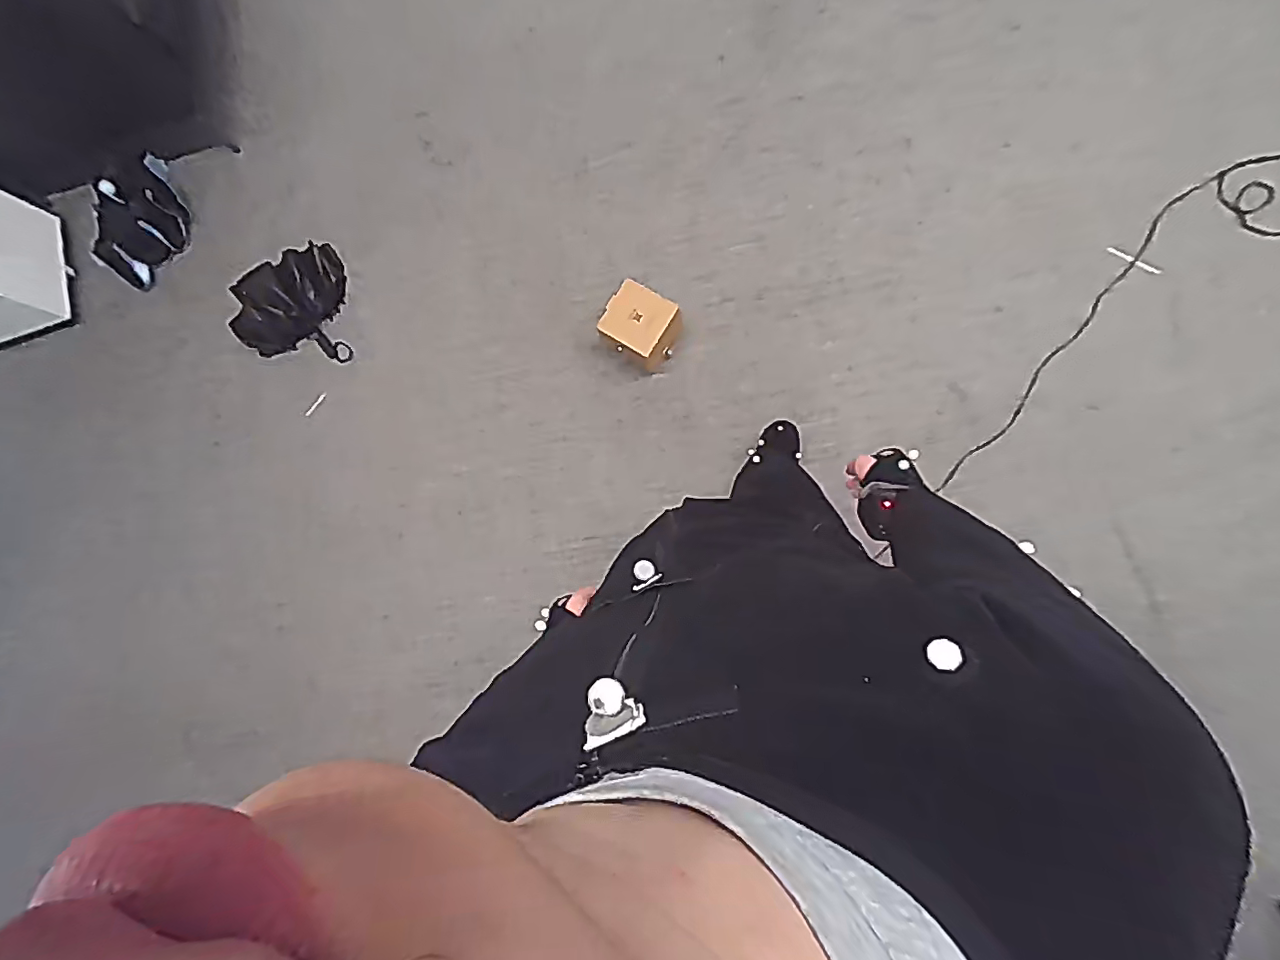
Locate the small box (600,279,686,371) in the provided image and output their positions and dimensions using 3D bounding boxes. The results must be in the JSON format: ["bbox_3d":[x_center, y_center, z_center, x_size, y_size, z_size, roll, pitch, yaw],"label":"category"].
[{"bbox_3d":[0.014,-0.436,1.553,0.179,0.176,0.168,32,92,10],"label":"small box"}]
